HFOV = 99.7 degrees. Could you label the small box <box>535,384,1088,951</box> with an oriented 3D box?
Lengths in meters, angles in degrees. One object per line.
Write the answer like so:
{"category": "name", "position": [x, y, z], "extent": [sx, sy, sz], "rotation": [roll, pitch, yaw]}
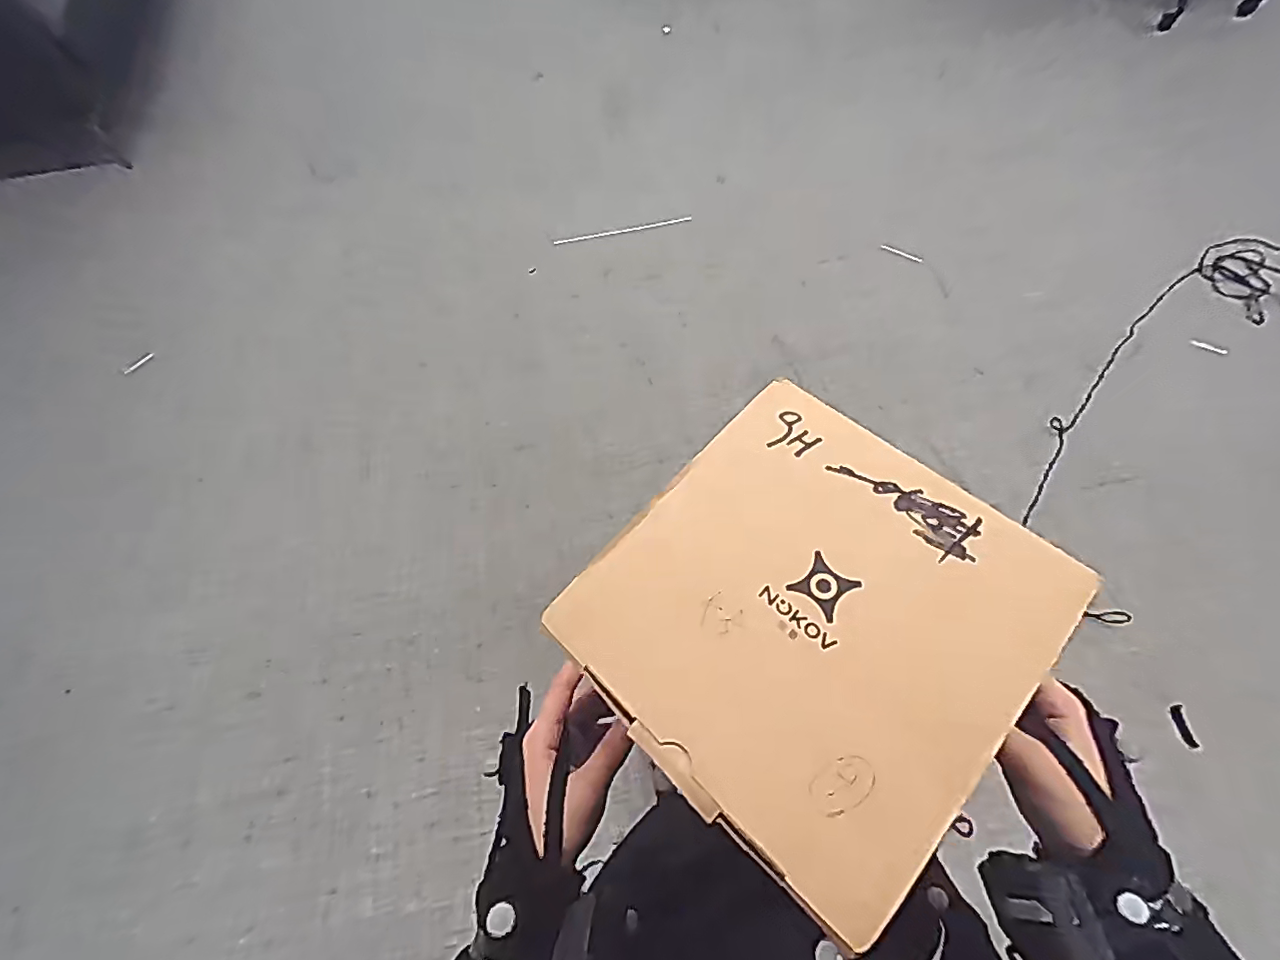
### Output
{"category": "small box", "position": [0.078, 0.090, 0.300], "extent": [0.168, 0.176, 0.179], "rotation": [39, 74, 24]}
